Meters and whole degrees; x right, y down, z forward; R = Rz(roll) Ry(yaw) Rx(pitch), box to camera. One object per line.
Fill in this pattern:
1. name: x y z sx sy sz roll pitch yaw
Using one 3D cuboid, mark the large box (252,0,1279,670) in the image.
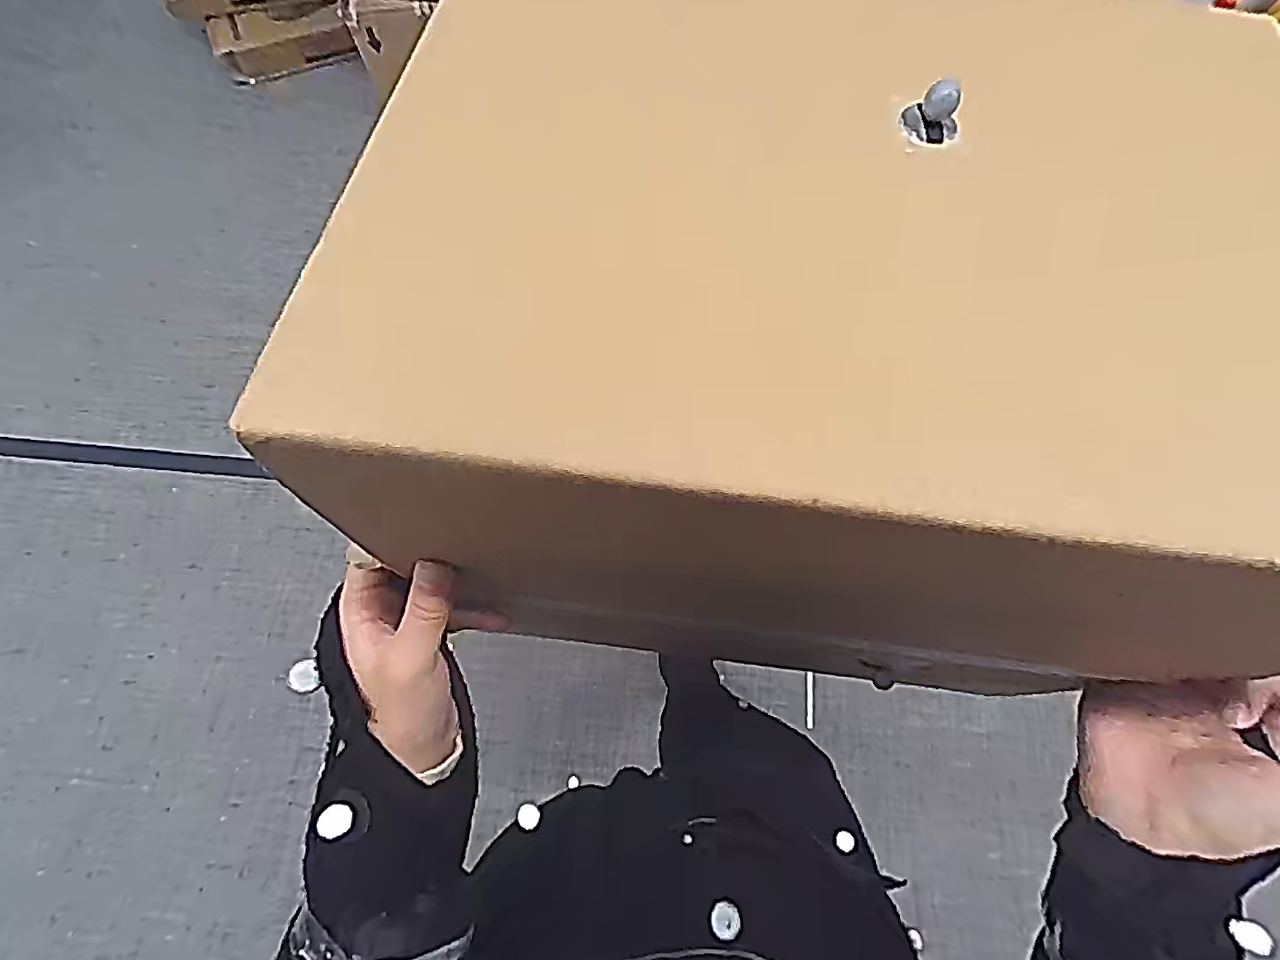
1. large box: 0.094 -0.077 0.343 0.408 0.320 0.320 7 66 -1
